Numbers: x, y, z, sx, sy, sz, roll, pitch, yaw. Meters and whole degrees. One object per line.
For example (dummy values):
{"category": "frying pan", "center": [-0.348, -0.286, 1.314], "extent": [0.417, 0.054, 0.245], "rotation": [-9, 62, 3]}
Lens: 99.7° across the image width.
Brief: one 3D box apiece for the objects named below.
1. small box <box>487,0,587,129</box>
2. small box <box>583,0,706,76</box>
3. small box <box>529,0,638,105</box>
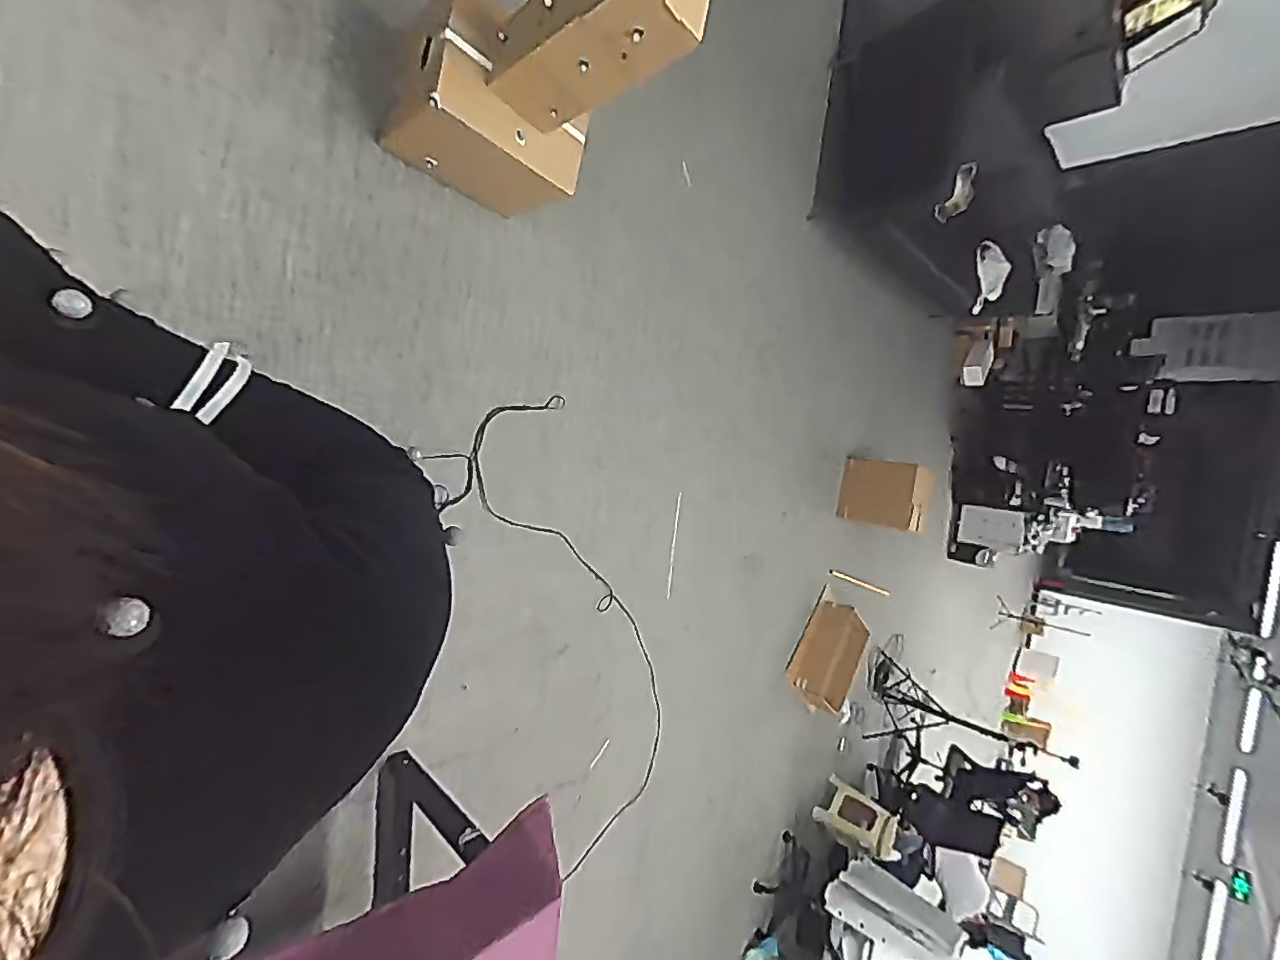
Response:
{"category": "small box", "center": [-0.225, -0.962, 1.261], "extent": [0.179, 0.176, 0.168], "rotation": [17, 82, -46]}
{"category": "small box", "center": [0.012, -0.933, 1.035], "extent": [0.168, 0.176, 0.179], "rotation": [17, 83, -47]}
{"category": "small box", "center": [-0.106, -0.943, 1.149], "extent": [0.179, 0.176, 0.168], "rotation": [18, 81, -46]}
